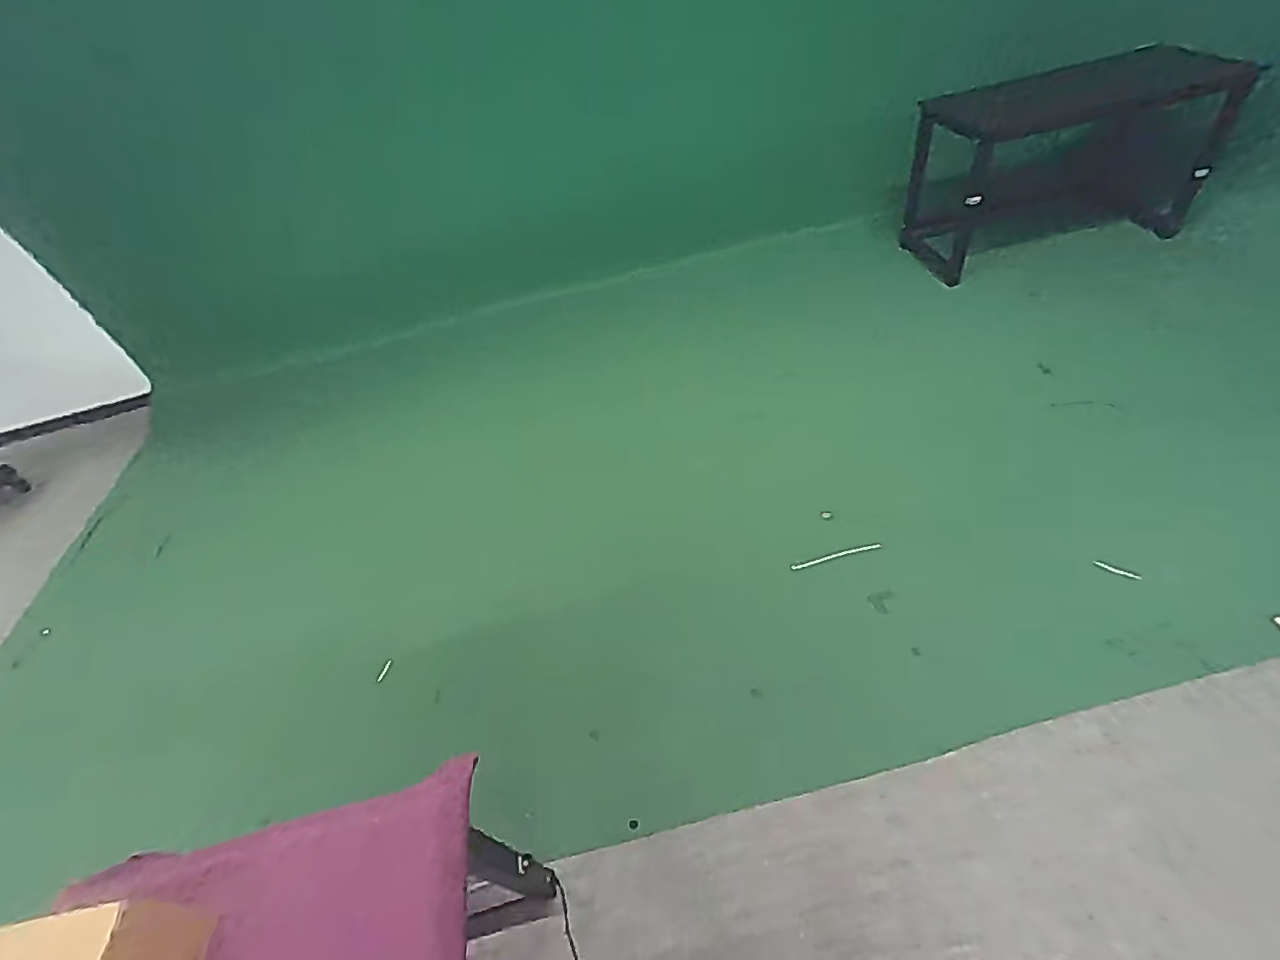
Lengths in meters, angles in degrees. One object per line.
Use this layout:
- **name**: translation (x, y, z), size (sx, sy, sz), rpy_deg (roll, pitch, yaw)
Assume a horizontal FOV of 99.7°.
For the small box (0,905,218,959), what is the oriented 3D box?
- **small box**: translation (-0.711, 0.672, 0.695), size (0.179, 0.176, 0.168), rpy_deg (-12, 47, 2)
